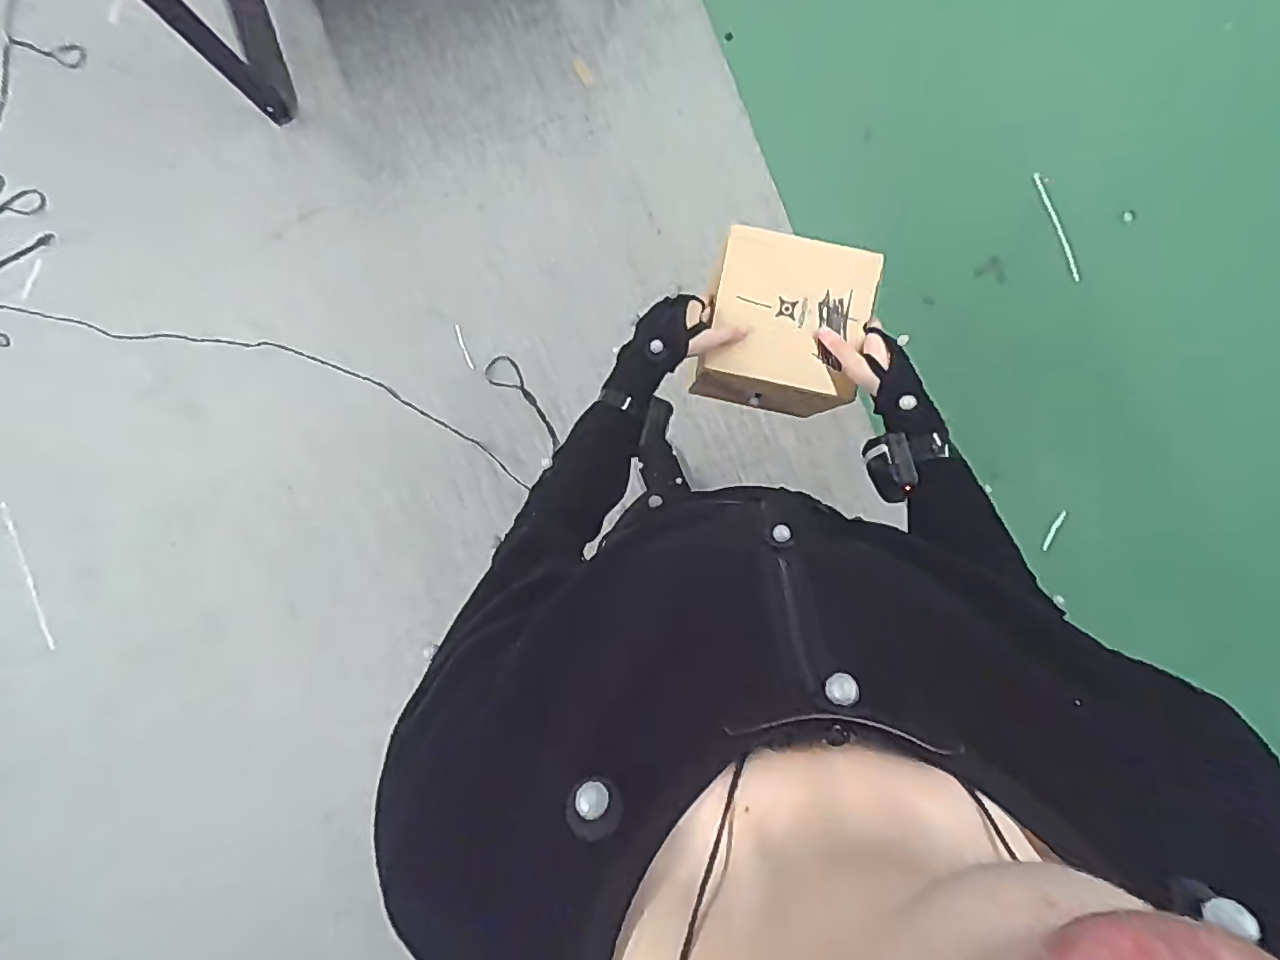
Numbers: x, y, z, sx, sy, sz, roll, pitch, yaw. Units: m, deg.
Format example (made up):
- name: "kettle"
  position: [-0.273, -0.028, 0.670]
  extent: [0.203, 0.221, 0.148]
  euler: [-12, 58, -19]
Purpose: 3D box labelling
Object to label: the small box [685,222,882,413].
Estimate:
- name: "small box"
  position: [0.163, -0.184, 0.669]
  extent: [0.179, 0.176, 0.168]
  euler: [12, 89, -1]
